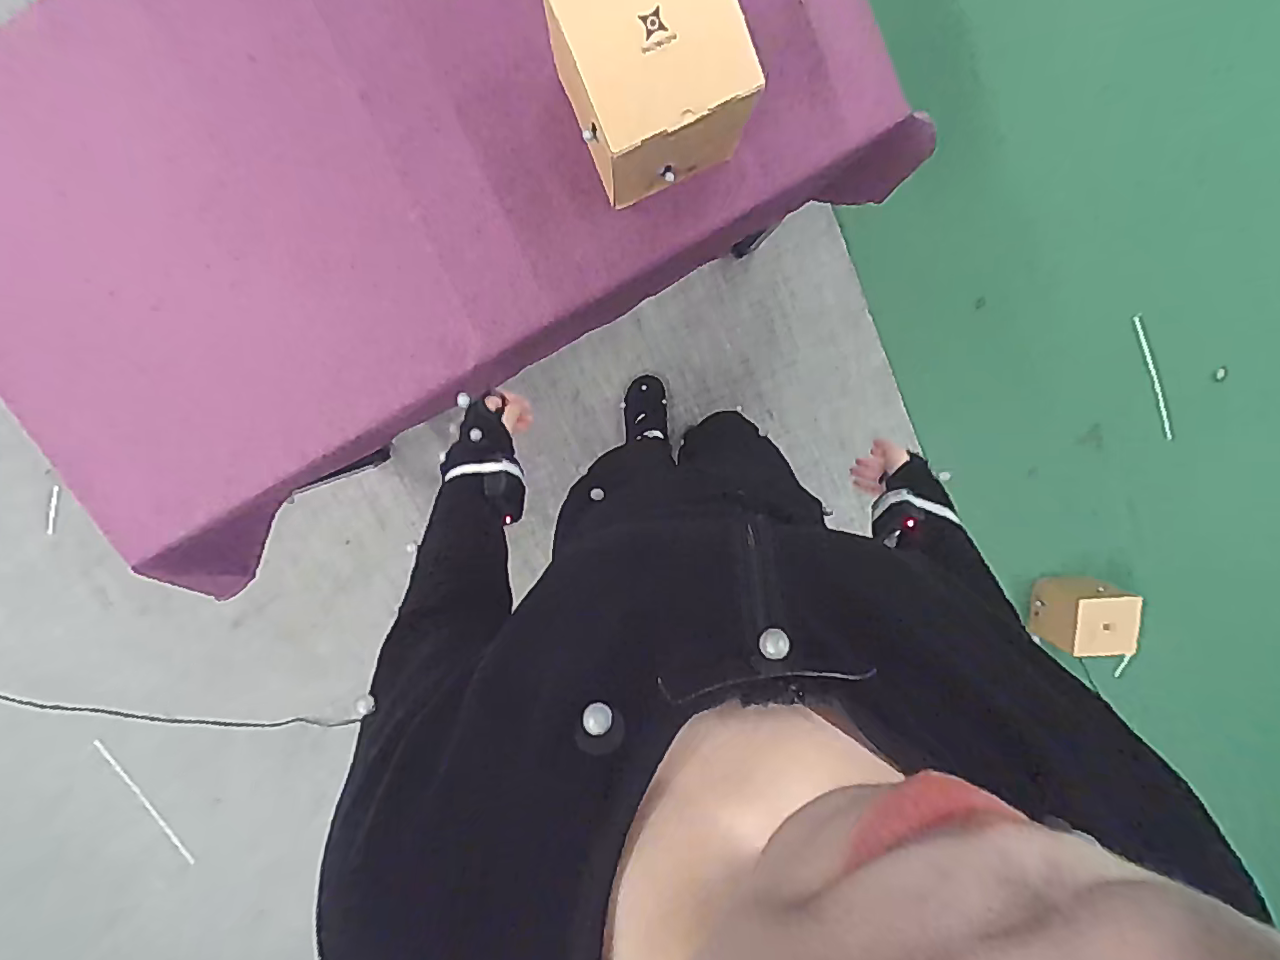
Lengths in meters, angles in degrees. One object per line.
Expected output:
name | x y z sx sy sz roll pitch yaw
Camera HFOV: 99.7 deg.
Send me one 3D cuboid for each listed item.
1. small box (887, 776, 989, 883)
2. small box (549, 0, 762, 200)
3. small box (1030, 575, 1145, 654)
small box | 0.886 1.040 1.623 0.179 0.176 0.168 -37 99 6
small box | 0.009 -0.447 0.595 0.168 0.176 0.179 -24 101 3
small box | 1.247 0.371 1.518 0.179 0.176 0.168 -2 100 -2
